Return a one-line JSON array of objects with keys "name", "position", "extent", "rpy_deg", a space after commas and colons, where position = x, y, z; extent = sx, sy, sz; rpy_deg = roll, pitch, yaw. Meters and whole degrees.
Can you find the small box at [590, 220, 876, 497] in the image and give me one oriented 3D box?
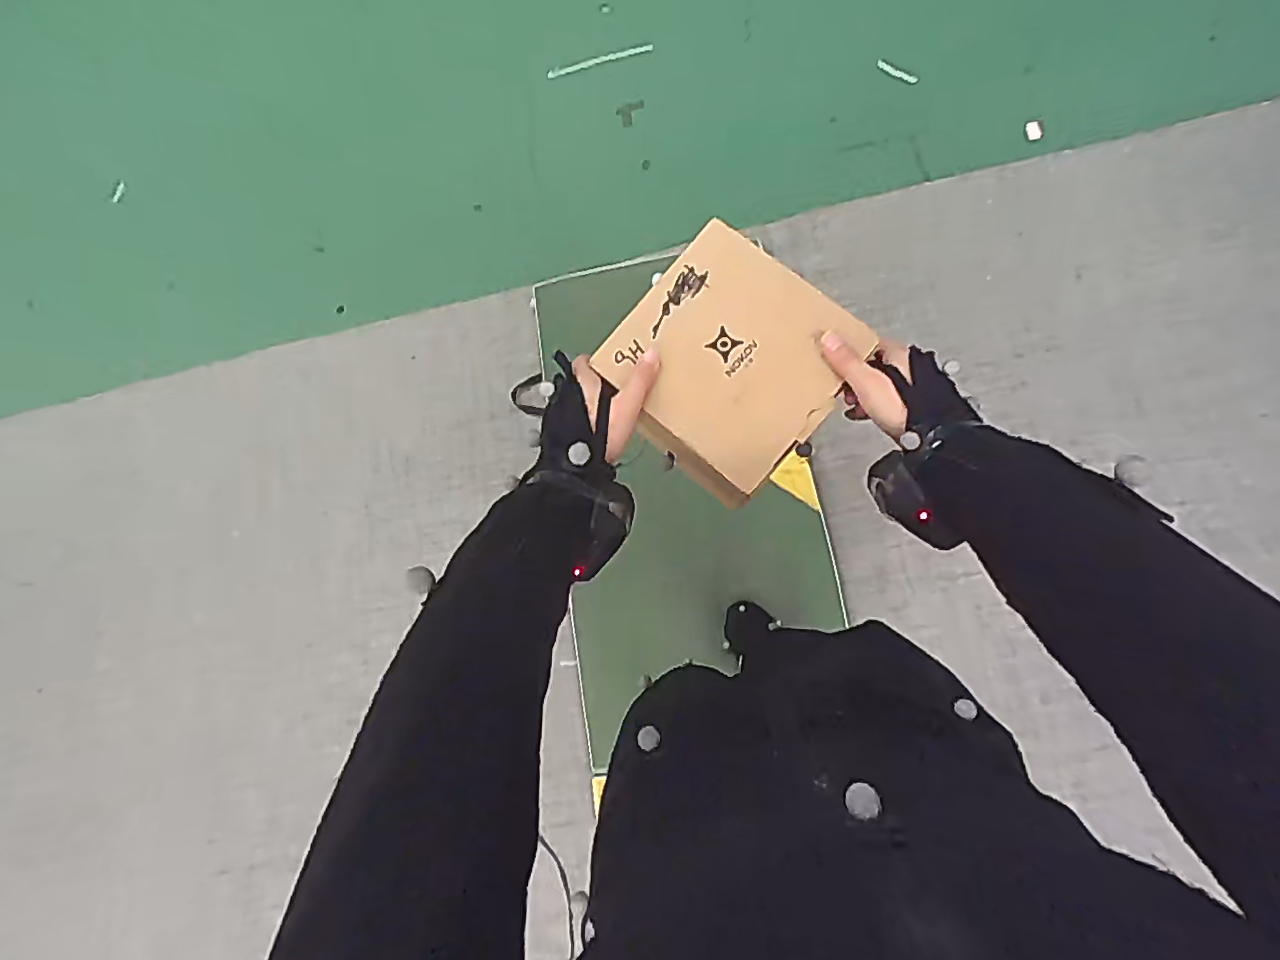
[{"name": "small box", "position": [0.081, -0.097, 0.520], "extent": [0.179, 0.176, 0.168], "rpy_deg": [41, 88, 8]}]
